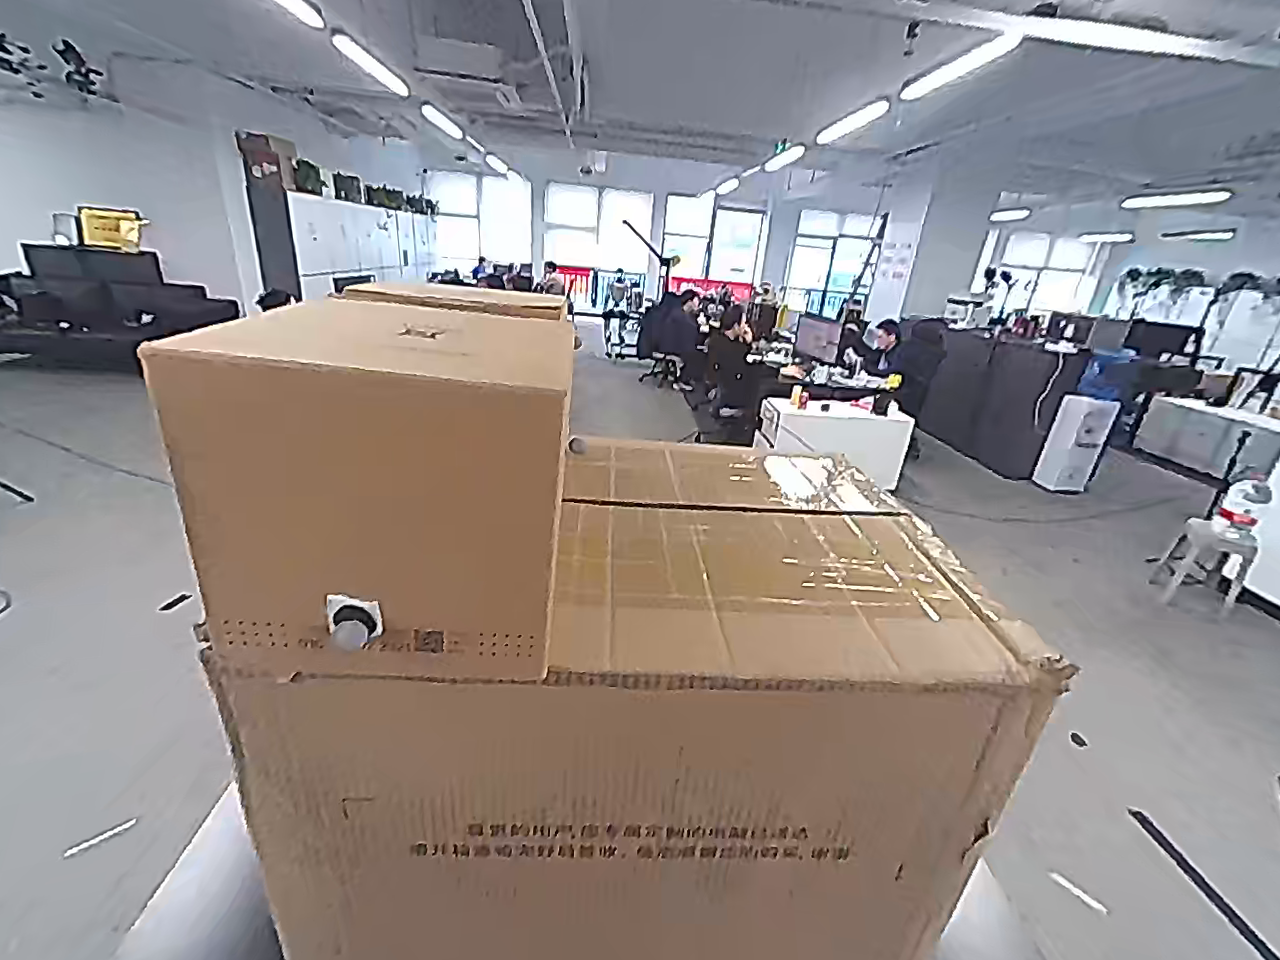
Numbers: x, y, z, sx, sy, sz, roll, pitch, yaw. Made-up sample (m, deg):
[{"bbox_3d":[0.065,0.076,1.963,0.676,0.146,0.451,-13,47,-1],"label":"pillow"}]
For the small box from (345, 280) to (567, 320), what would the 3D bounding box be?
[{"bbox_3d":[-0.161,-0.095,0.523,0.168,0.176,0.179,3,21,-7],"label":"small box"}]

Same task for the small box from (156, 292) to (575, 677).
[{"bbox_3d":[-0.129,-0.008,0.328,0.168,0.176,0.179,3,25,-8],"label":"small box"}]
